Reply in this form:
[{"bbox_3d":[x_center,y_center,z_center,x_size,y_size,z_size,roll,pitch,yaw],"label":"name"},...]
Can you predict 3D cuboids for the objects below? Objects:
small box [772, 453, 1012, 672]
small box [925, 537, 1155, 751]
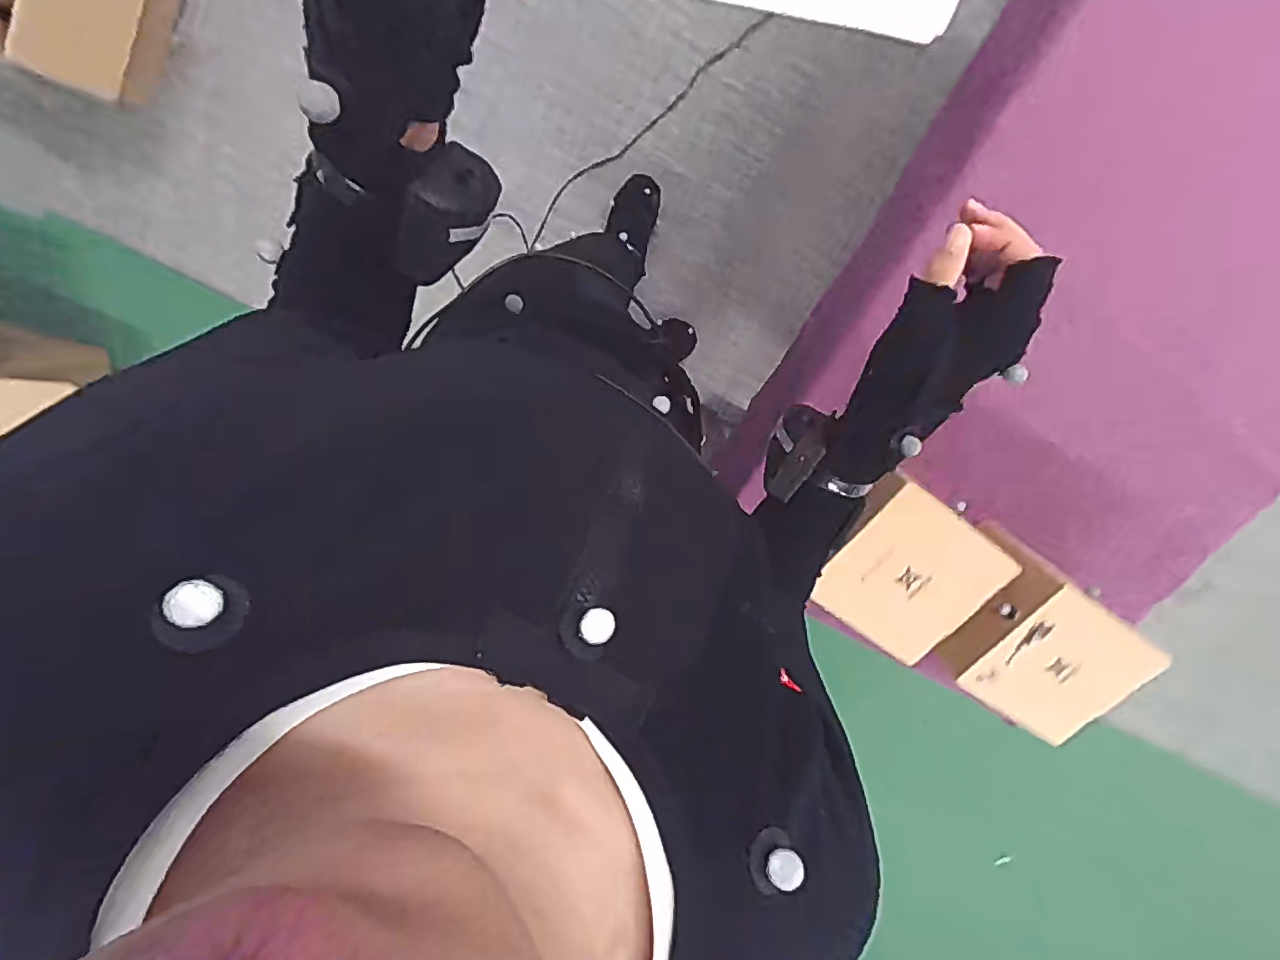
[{"bbox_3d":[0.293,0.091,0.669,0.179,0.176,0.168,36,107,-11],"label":"small box"},{"bbox_3d":[0.483,0.204,0.707,0.179,0.176,0.168,33,109,-11],"label":"small box"}]
